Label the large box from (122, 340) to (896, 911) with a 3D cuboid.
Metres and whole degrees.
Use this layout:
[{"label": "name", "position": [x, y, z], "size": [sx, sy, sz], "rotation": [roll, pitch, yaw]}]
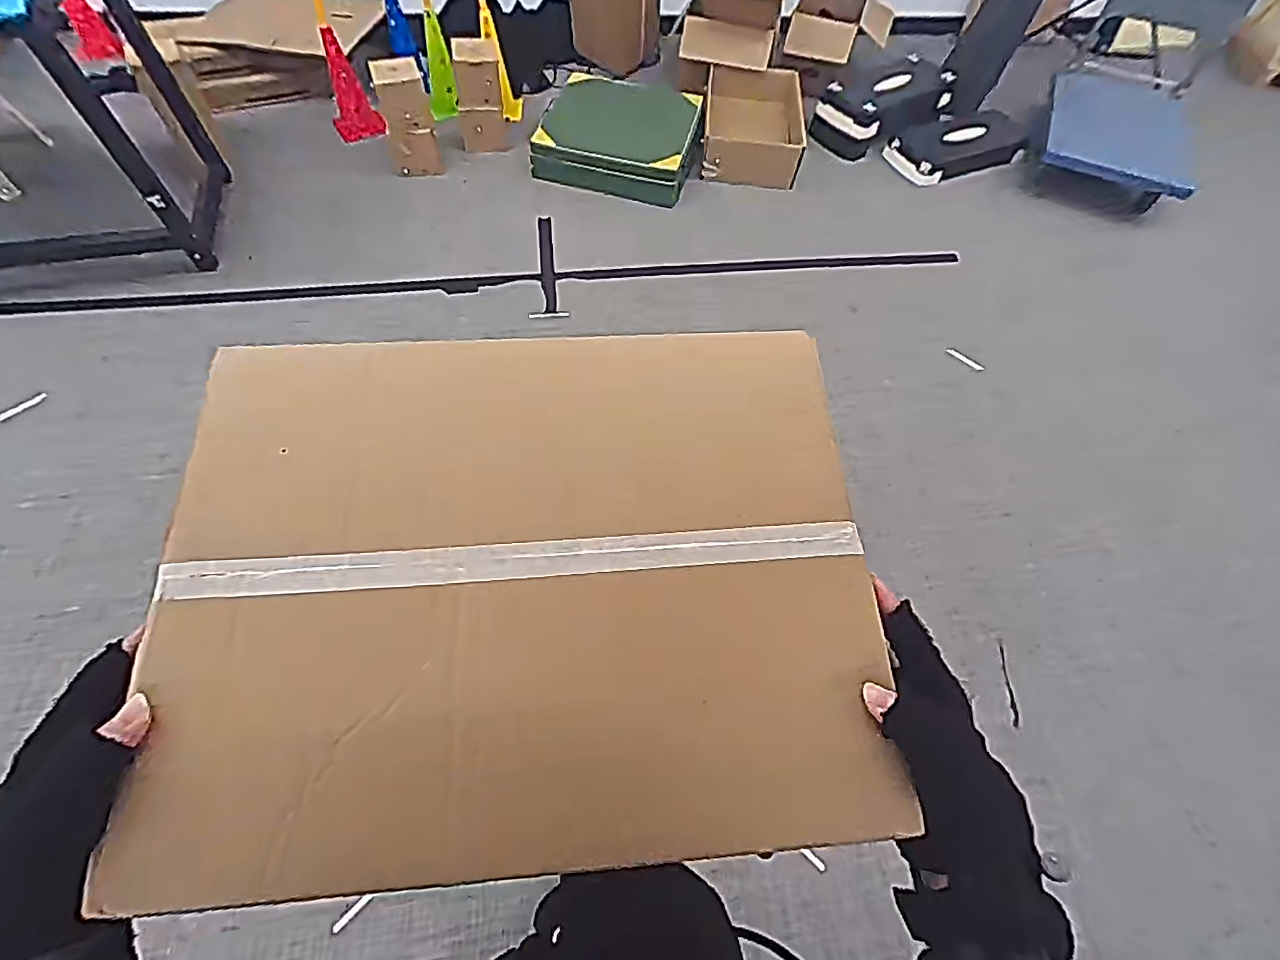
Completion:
[{"label": "large box", "position": [-0.075, 0.105, 0.467], "size": [0.408, 0.320, 0.320], "rotation": [-3, 68, -4]}]
